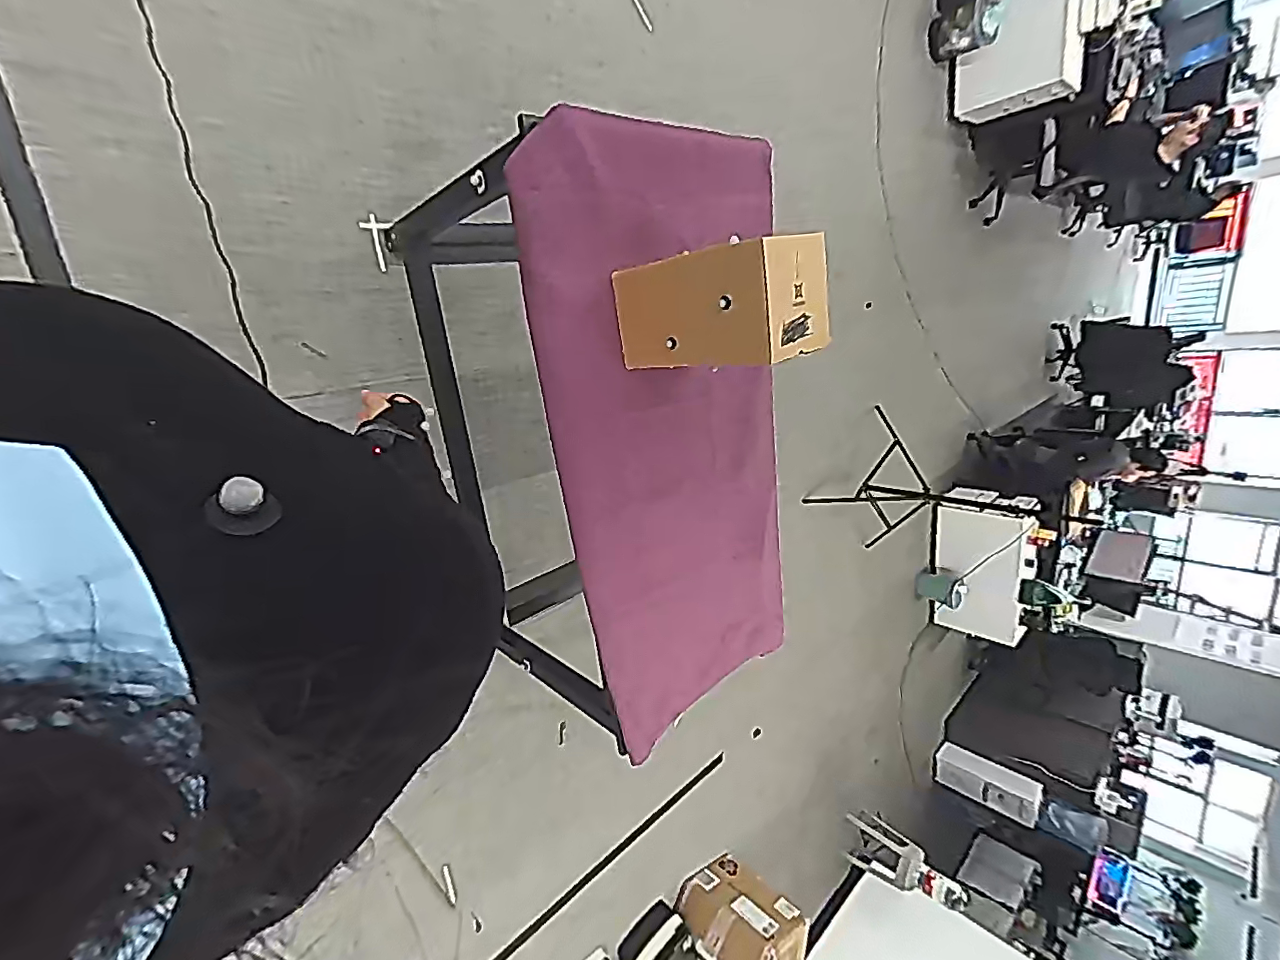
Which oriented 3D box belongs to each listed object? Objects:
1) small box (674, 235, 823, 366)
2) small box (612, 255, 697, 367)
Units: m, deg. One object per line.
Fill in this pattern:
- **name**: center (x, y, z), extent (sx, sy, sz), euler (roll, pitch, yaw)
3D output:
- **small box**: center (0.174, -0.284, 0.870), extent (0.168, 0.176, 0.179), euler (-24, 113, -38)
- **small box**: center (0.067, -0.309, 0.992), extent (0.168, 0.176, 0.179), euler (-23, 113, -38)
